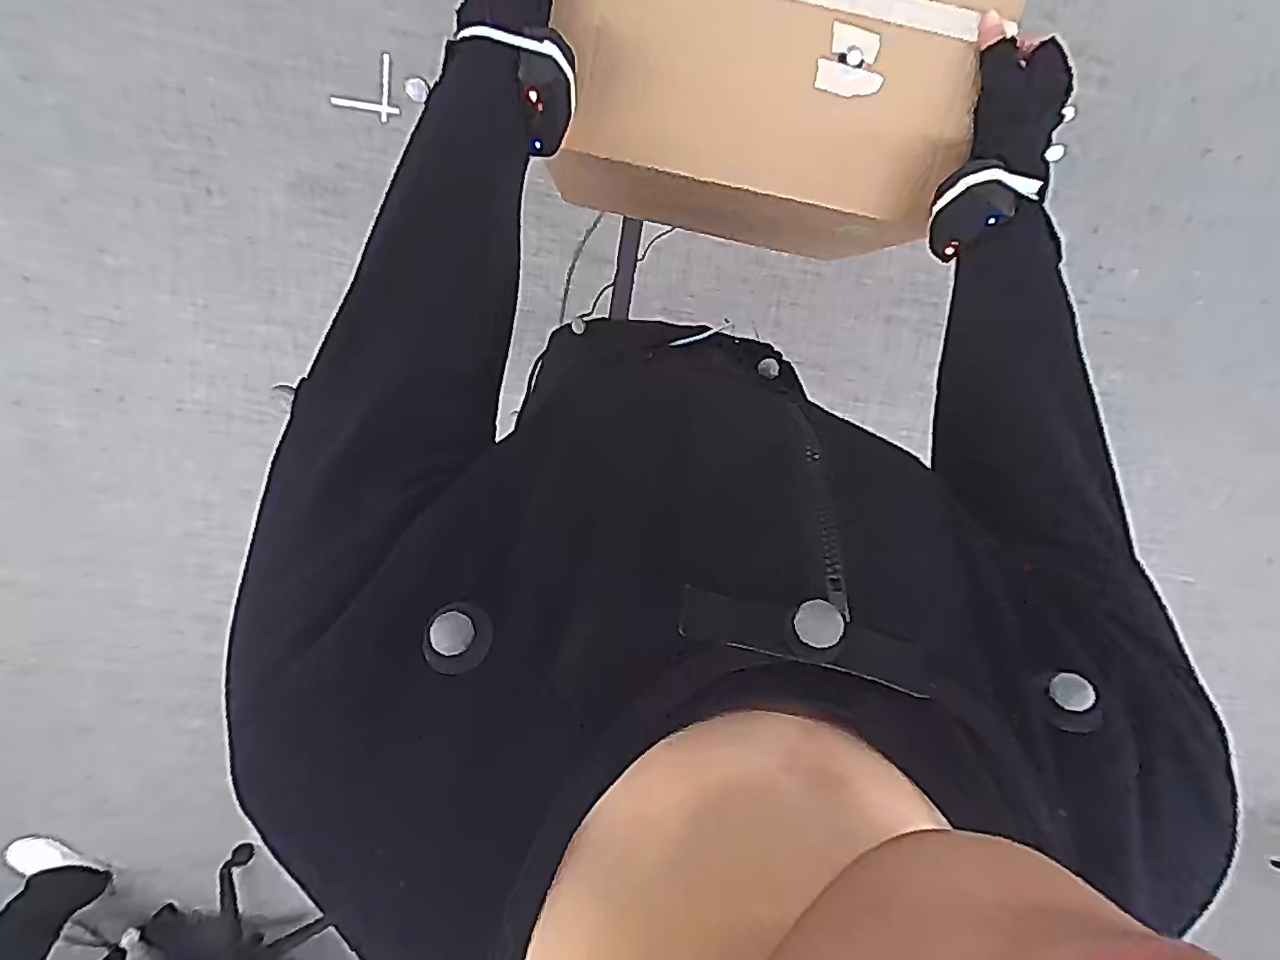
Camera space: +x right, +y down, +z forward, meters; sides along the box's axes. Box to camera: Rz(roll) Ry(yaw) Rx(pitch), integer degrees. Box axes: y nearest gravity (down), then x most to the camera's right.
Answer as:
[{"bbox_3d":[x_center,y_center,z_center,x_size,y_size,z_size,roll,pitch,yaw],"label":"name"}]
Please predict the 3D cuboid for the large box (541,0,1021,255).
[{"bbox_3d":[0.124,-0.466,0.605,0.408,0.320,0.320,10,108,-5],"label":"large box"}]
